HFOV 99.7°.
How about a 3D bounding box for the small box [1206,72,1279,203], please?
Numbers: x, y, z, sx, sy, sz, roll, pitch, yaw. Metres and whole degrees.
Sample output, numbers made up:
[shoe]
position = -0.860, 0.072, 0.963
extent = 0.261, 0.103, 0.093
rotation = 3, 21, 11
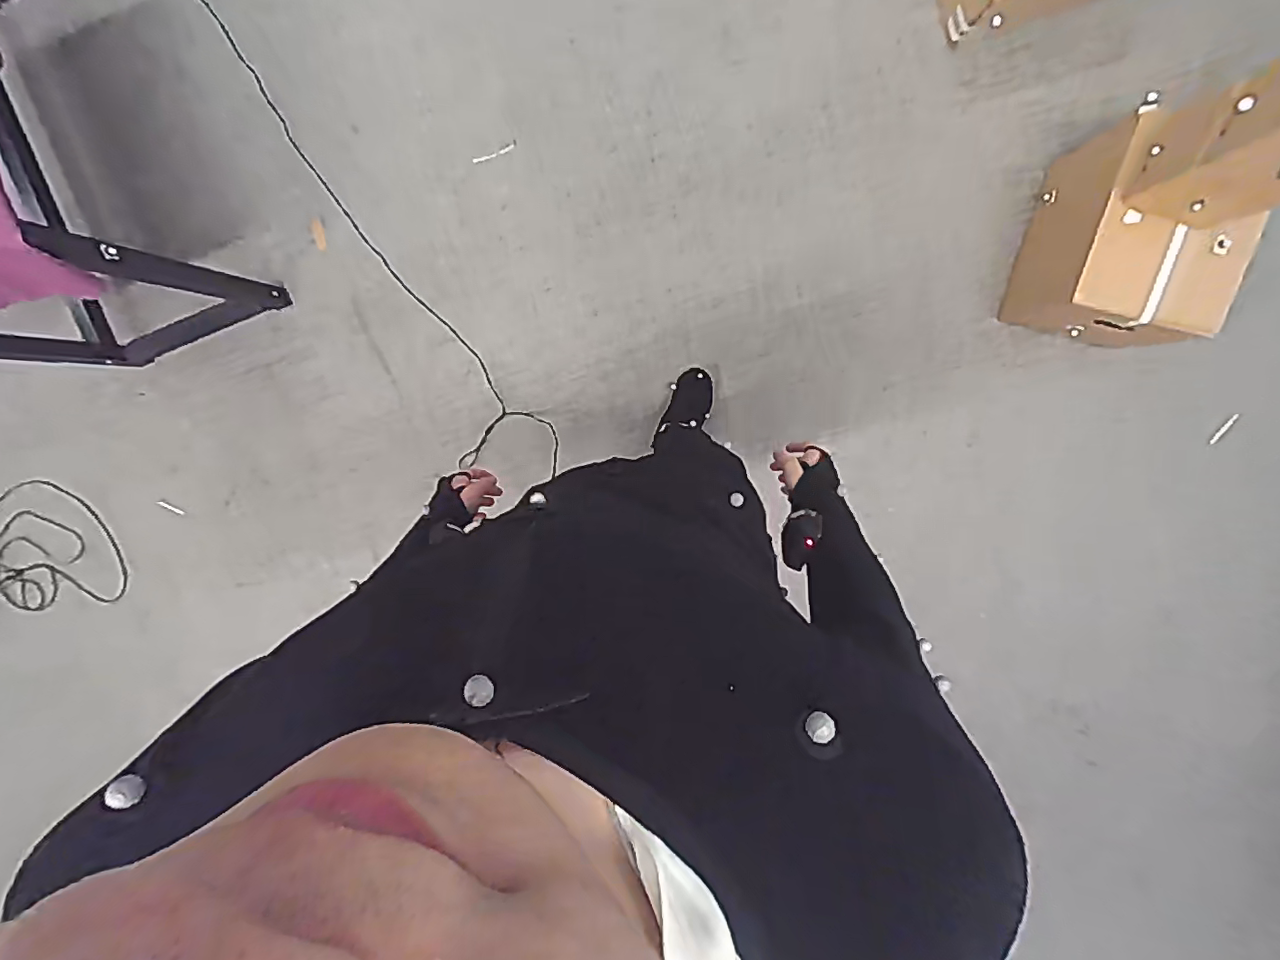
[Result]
[small box]
position = 1.087, -0.564, 0.851
extent = 0.179, 0.176, 0.168
rotation = 26, 101, 4
